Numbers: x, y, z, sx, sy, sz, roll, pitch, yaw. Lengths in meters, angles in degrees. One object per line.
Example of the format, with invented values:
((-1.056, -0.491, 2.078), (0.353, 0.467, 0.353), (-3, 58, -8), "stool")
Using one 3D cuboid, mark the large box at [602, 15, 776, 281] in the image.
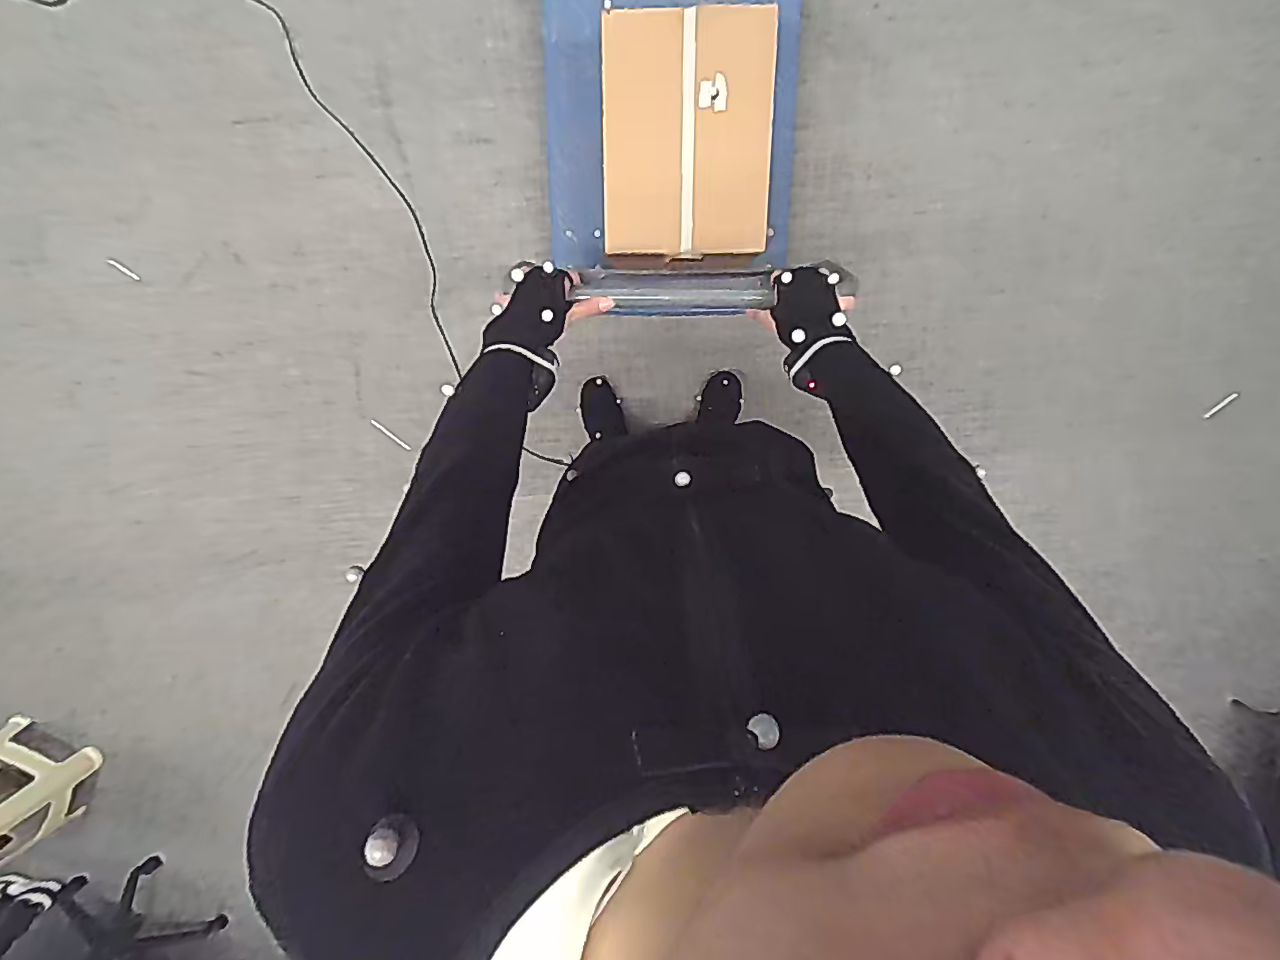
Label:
((0.097, -0.652, 1.140), (0.320, 0.320, 0.408), (0, 103, 2), "large box")
